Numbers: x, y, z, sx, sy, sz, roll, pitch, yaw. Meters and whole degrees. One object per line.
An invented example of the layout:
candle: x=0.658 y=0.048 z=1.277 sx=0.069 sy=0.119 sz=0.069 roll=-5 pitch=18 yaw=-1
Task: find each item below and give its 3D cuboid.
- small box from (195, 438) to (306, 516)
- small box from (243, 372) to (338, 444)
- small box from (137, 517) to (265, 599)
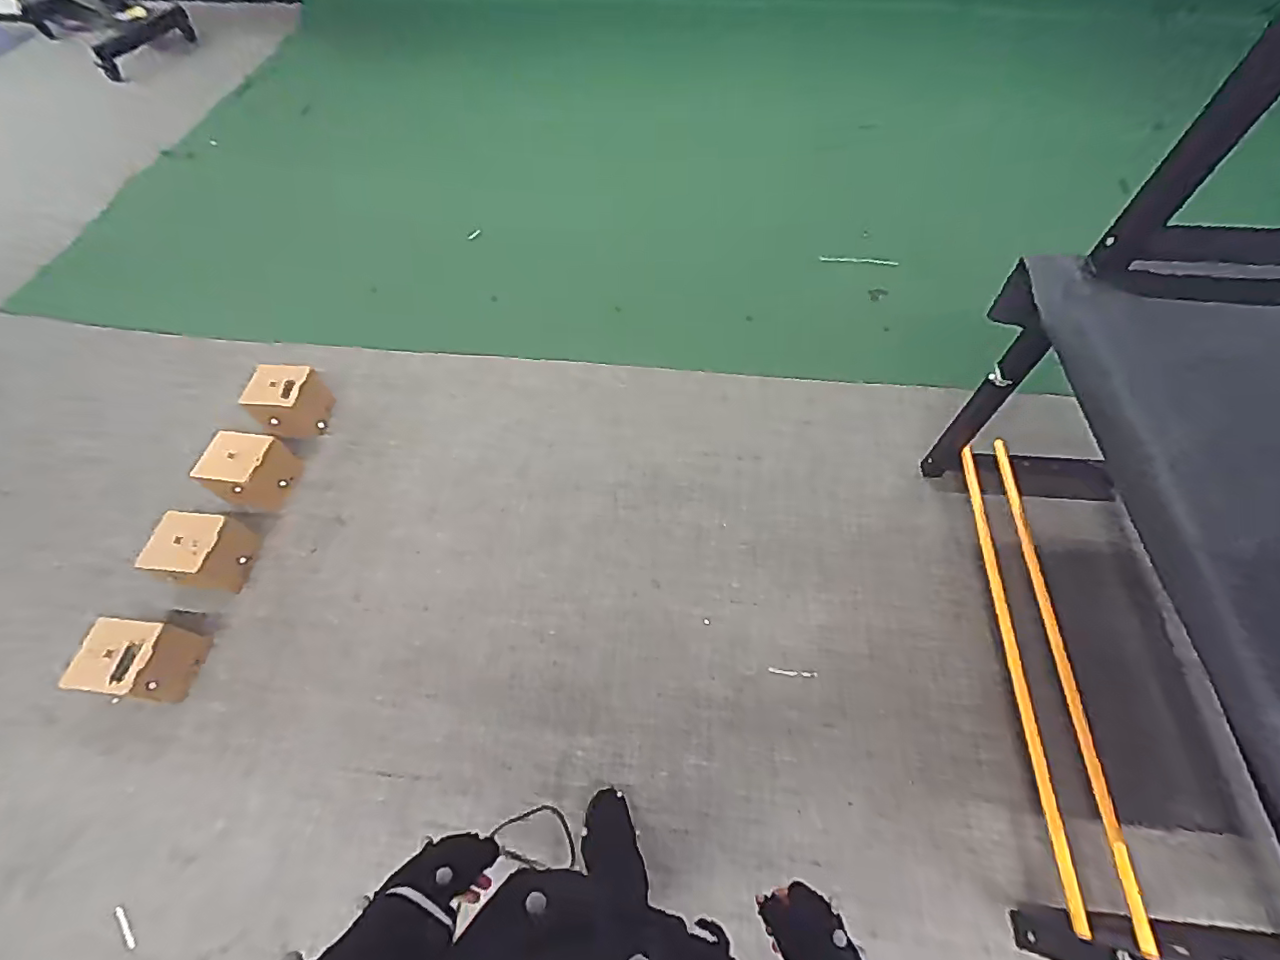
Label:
small box: x=-1.163 y=-0.005 z=1.630 sx=0.179 sy=0.176 sz=0.168 roll=7 pitch=58 yaw=5
small box: x=-1.132 y=-0.232 z=1.771 sx=0.179 sy=0.176 sz=0.168 roll=3 pitch=58 yaw=4
small box: x=-1.193 y=0.219 z=1.485 sx=0.179 sy=0.176 sz=0.168 roll=5 pitch=59 yaw=4
